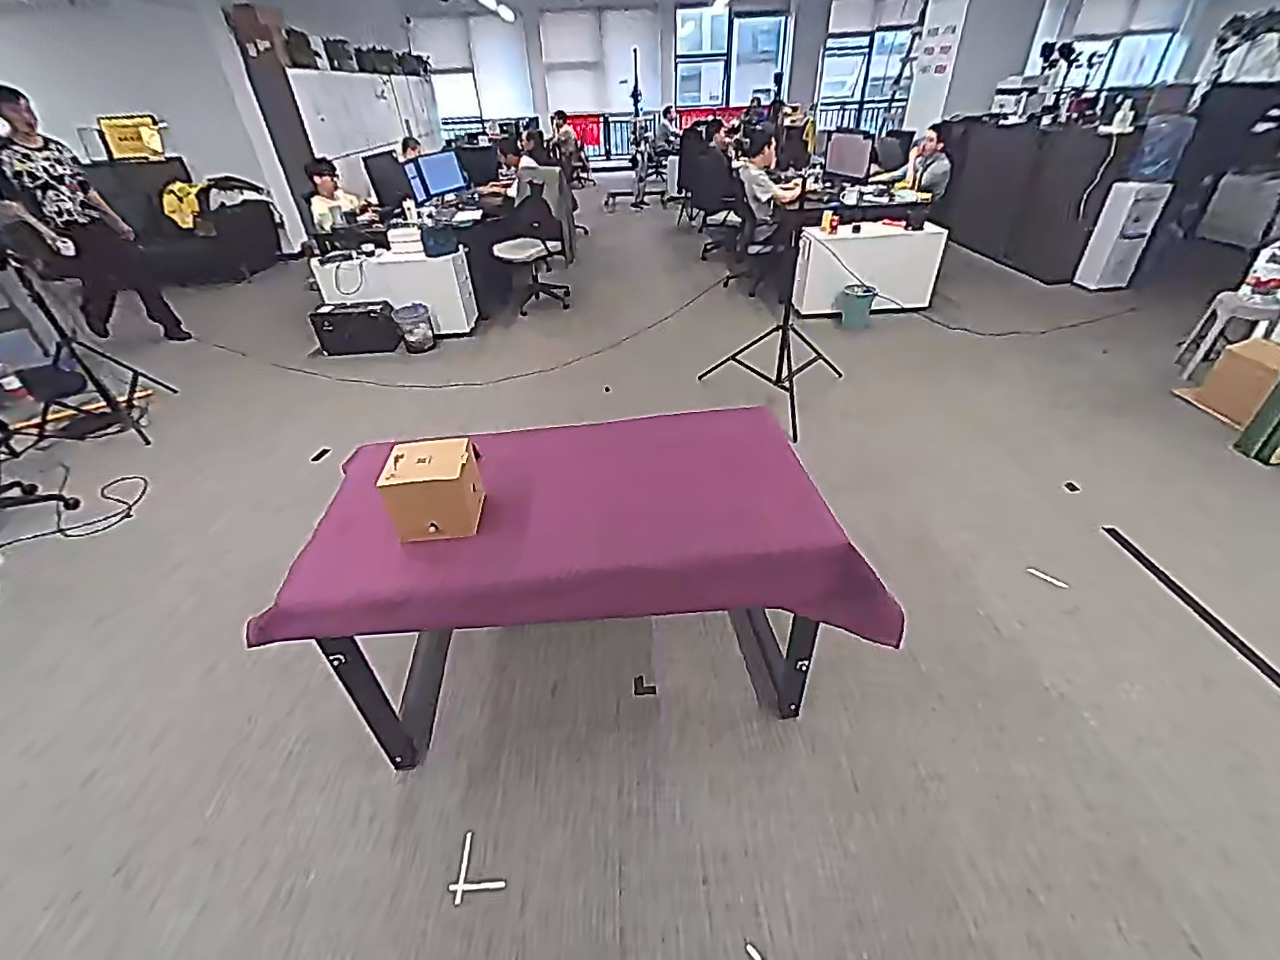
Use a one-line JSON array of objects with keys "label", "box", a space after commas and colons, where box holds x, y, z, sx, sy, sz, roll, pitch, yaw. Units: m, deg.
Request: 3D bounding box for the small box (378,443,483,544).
[{"label": "small box", "box": [-0.475, 0.032, 1.259, 0.179, 0.176, 0.168, -5, 35, -4]}]
